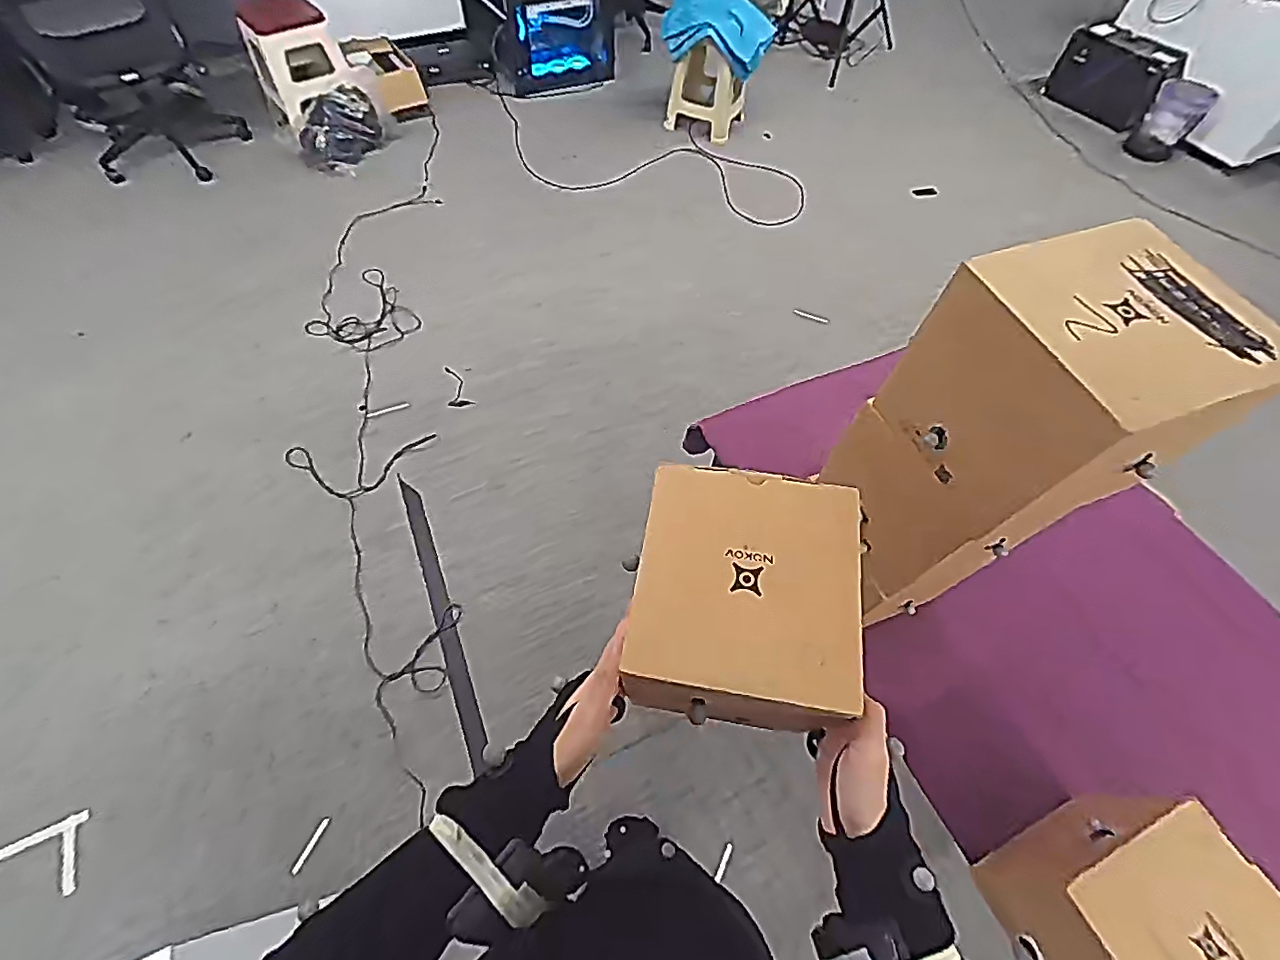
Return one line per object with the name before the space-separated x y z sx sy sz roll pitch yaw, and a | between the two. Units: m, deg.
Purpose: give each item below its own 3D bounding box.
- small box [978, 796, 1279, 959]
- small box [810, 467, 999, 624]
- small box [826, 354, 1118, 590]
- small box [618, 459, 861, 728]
small box | 0.485 0.432 0.526 0.179 0.176 0.168 -21 61 -13
small box | 0.317 0.081 0.727 0.168 0.176 0.179 -17 61 -13
small box | 0.332 -0.003 0.587 0.179 0.176 0.168 -18 62 -12
small box | 0.083 0.106 0.470 0.168 0.176 0.179 7 60 7
